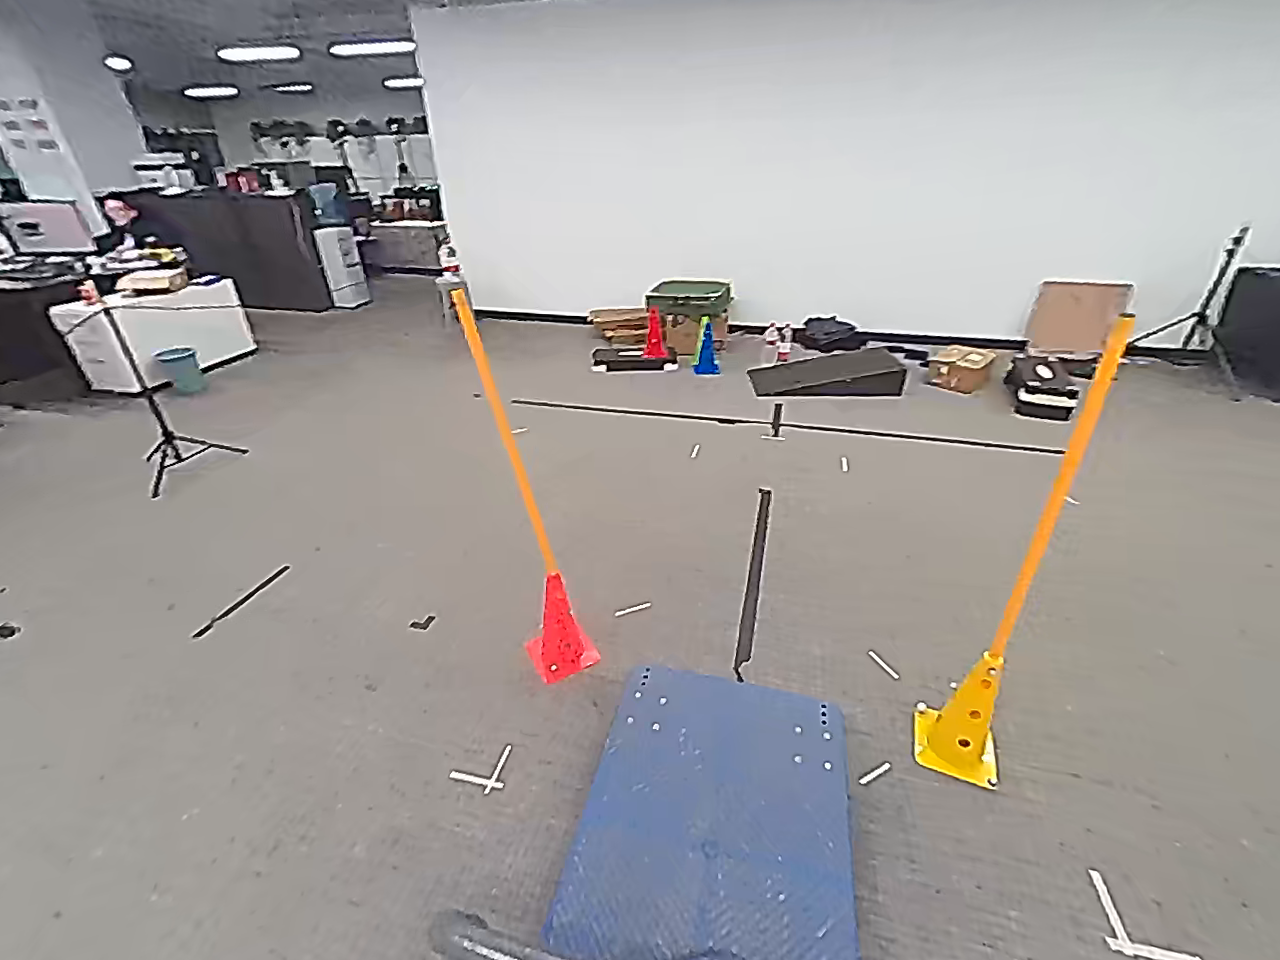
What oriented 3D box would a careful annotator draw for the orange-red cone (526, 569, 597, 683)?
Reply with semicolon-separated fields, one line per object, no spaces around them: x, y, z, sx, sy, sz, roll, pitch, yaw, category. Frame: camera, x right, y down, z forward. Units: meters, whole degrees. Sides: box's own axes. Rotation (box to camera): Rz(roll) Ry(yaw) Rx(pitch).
-0.262;0.429;1.715;0.199;0.360;0.198;-16;35;-26;orange-red cone
